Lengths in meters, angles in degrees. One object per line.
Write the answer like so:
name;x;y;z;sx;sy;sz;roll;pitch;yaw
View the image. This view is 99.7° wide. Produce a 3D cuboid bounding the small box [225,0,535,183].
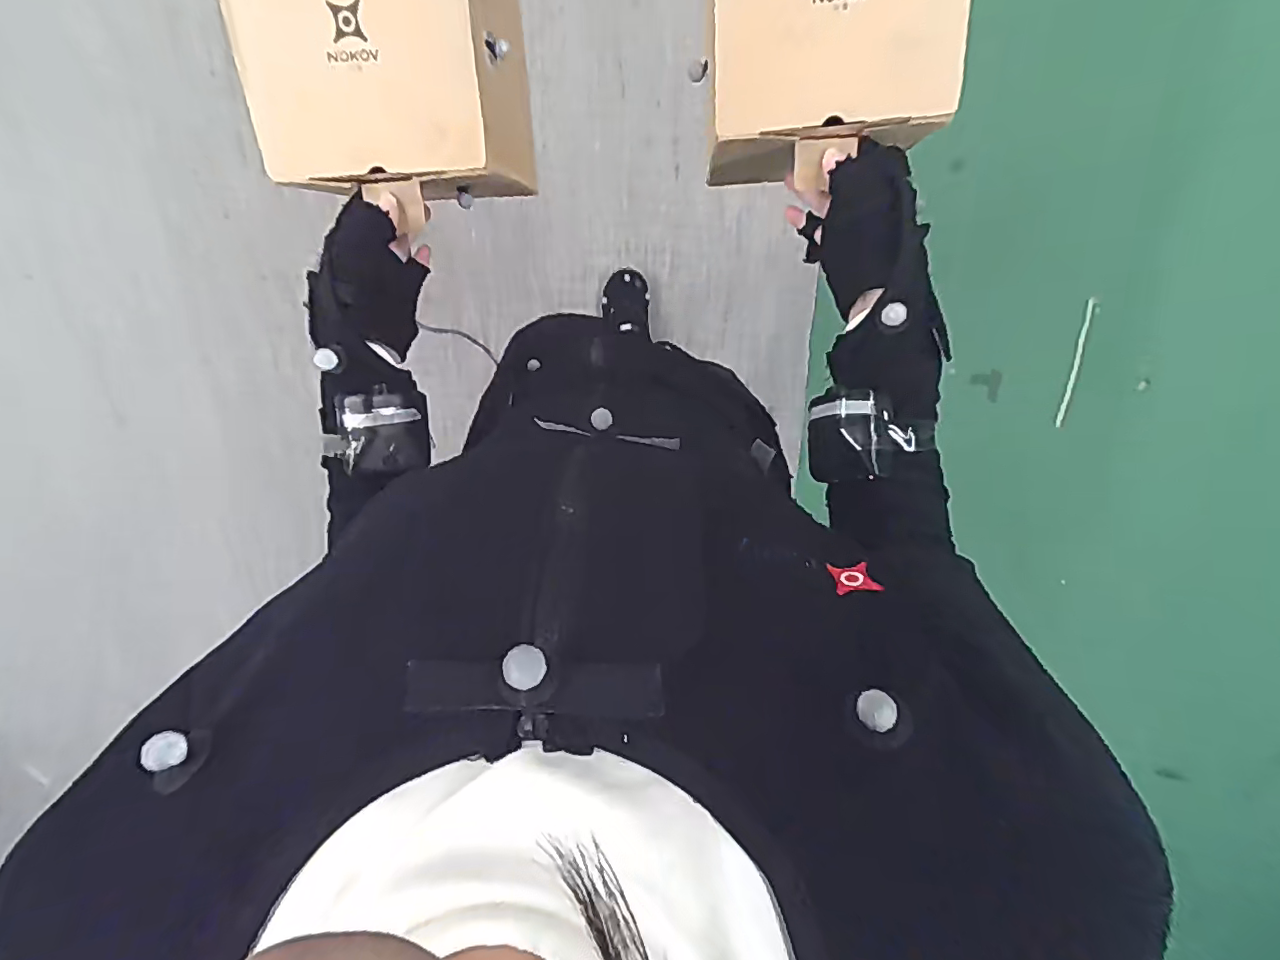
small box;-0.187;-0.342;0.428;0.168;0.176;0.179;-2;112;3
